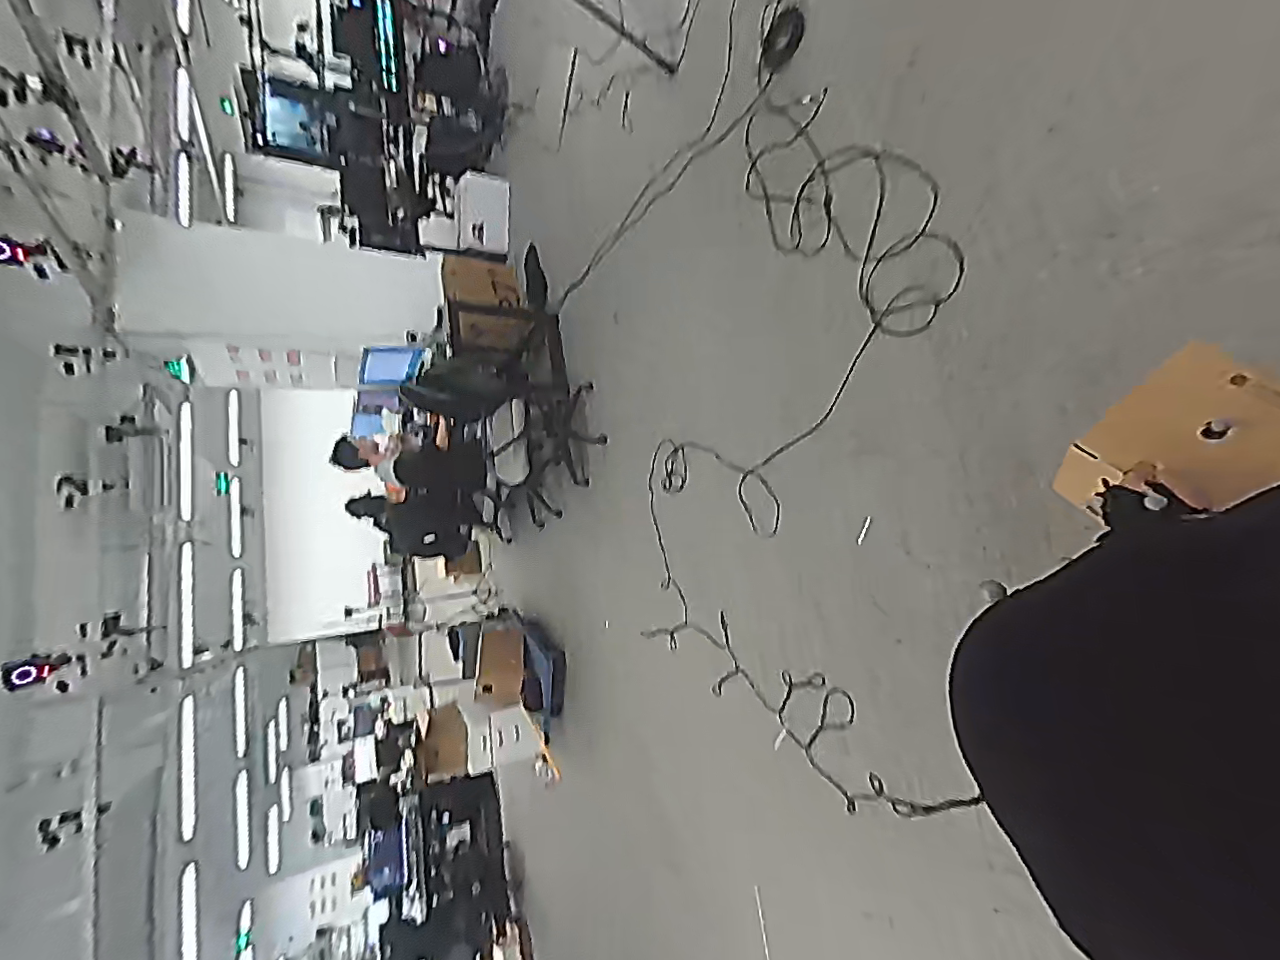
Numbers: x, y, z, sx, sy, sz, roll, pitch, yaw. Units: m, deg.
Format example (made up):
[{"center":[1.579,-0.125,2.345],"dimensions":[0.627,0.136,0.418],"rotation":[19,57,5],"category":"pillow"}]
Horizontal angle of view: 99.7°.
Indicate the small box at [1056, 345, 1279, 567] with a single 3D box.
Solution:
[{"center":[0.656,-0.027,0.647],"dimensions":[0.176,0.179,0.168],"rotation":[-44,55,6],"category":"small box"}]
